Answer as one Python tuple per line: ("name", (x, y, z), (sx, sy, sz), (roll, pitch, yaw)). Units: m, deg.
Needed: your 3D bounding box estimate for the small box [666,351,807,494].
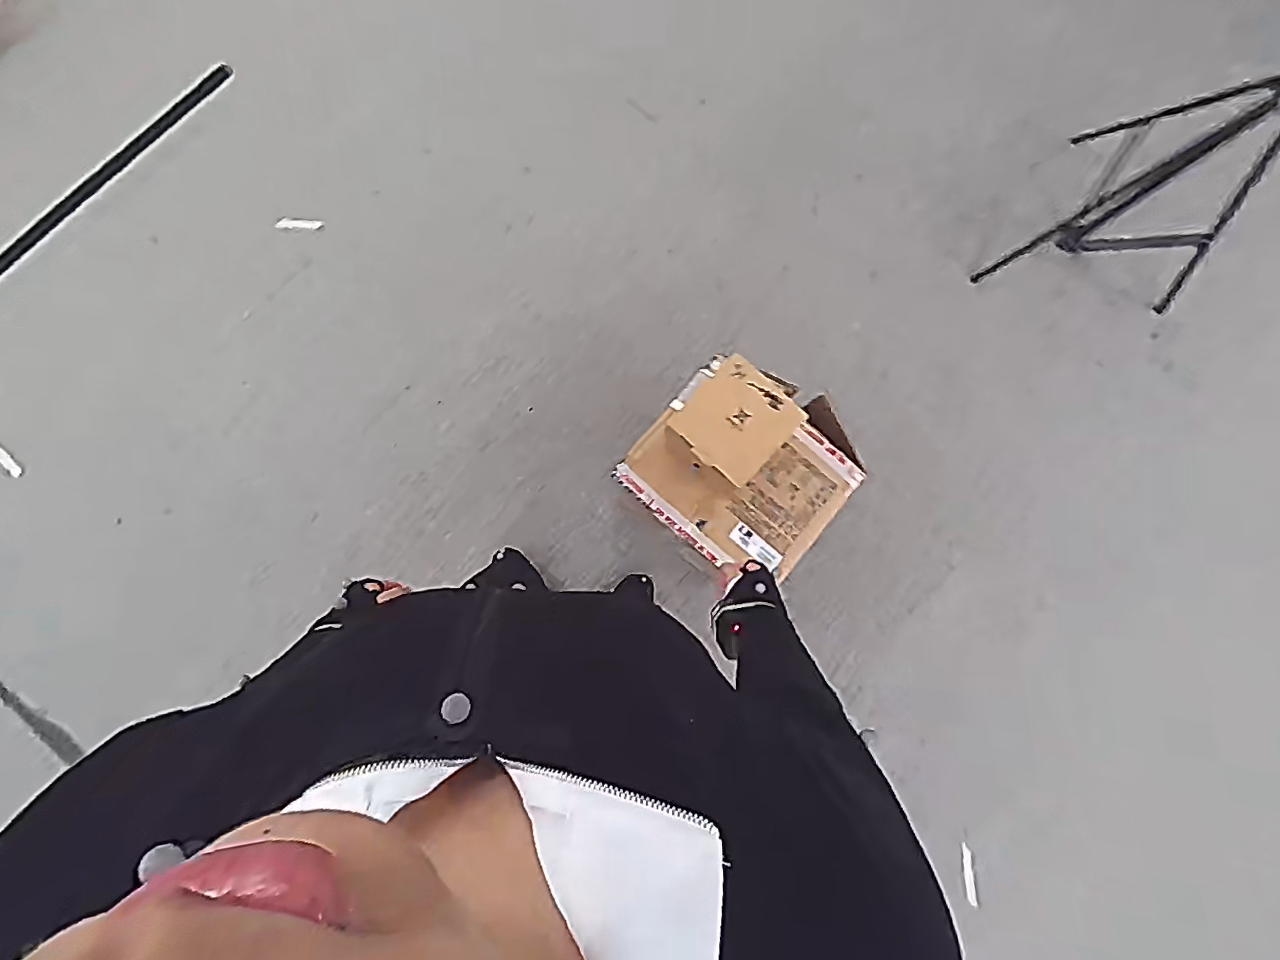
("small box", (0.162, -0.091, 0.971), (0.168, 0.176, 0.179), (44, 86, 5))
